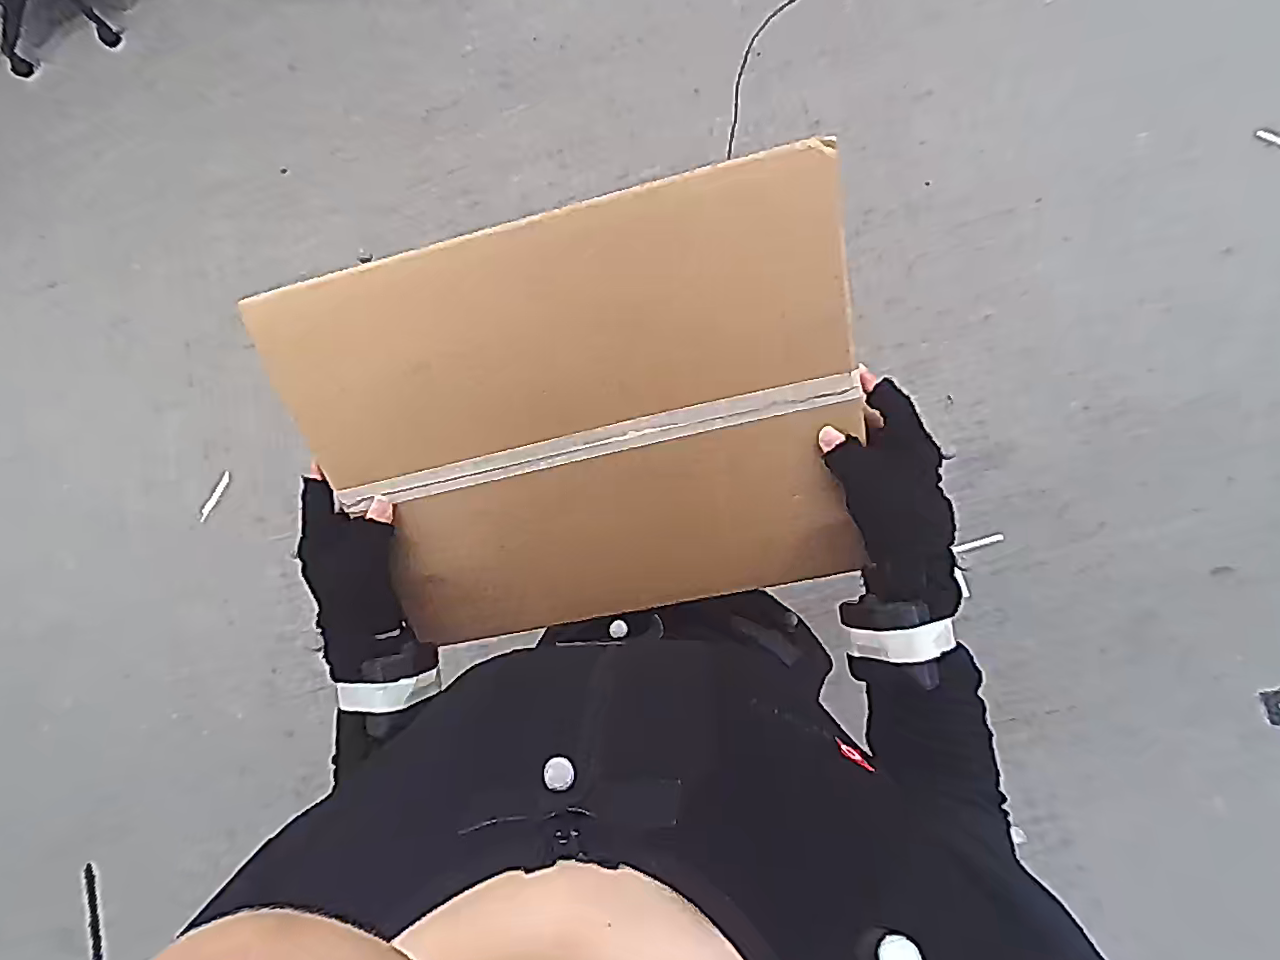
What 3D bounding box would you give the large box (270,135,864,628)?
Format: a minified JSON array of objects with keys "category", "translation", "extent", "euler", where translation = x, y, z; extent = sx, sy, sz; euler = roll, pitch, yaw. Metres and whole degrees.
[{"category":"large box","translation":[-0.037,-0.098,0.553],"extent":[0.408,0.320,0.320],"euler":[-12,115,7]}]
